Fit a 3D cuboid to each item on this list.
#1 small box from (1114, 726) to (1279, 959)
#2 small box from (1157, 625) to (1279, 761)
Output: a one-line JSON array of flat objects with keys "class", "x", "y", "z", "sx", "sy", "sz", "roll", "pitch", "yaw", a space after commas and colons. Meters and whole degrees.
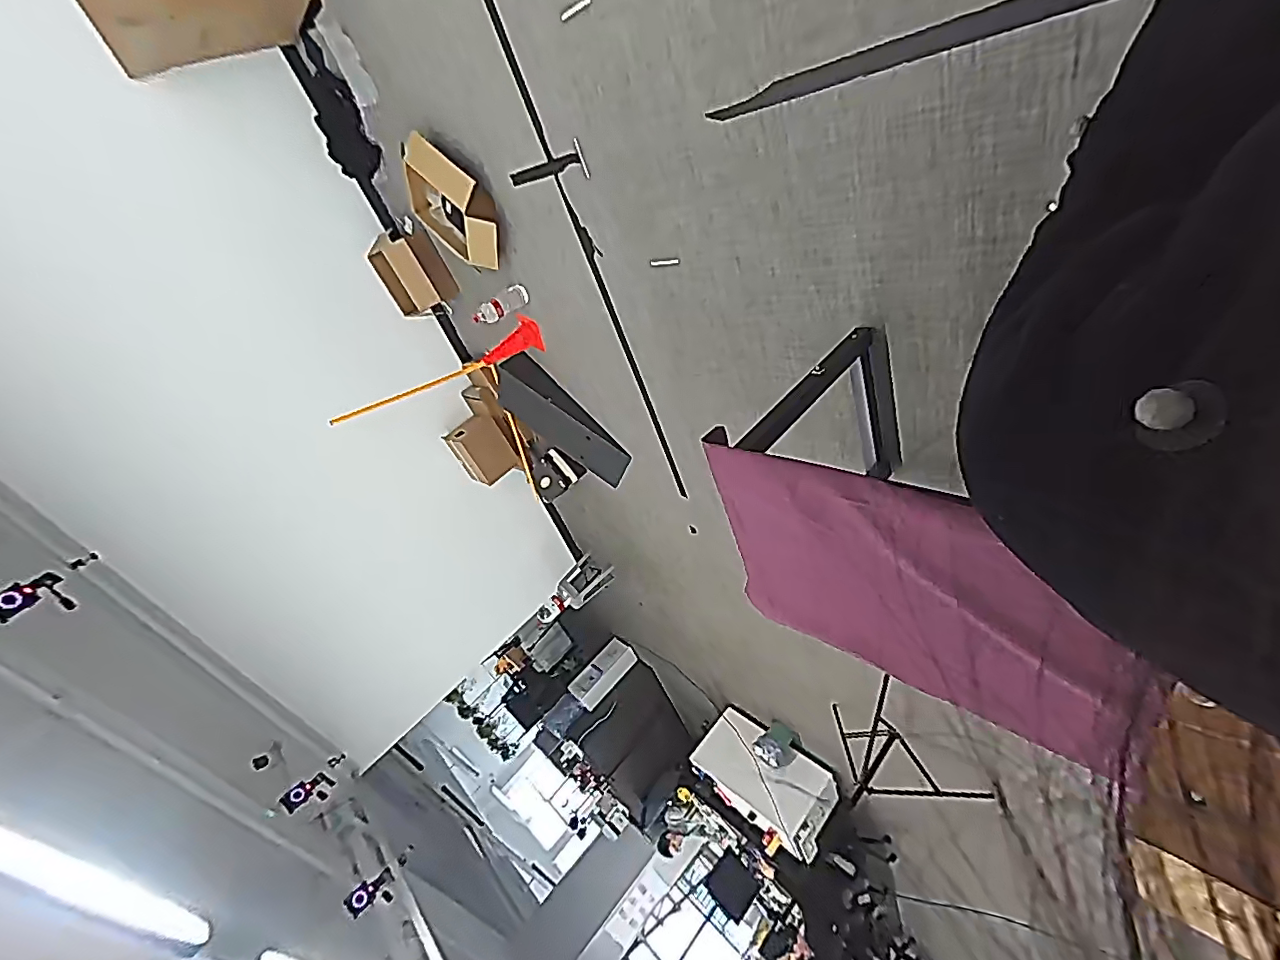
[{"class": "small box", "x": 0.701, "y": 0.427, "z": 0.640, "sx": 0.179, "sy": 0.176, "sz": 0.168, "roll": 13, "pitch": 140, "yaw": 48}, {"class": "small box", "x": 0.808, "y": 0.328, "z": 0.711, "sx": 0.168, "sy": 0.176, "sz": 0.179, "roll": 15, "pitch": 139, "yaw": 47}]
